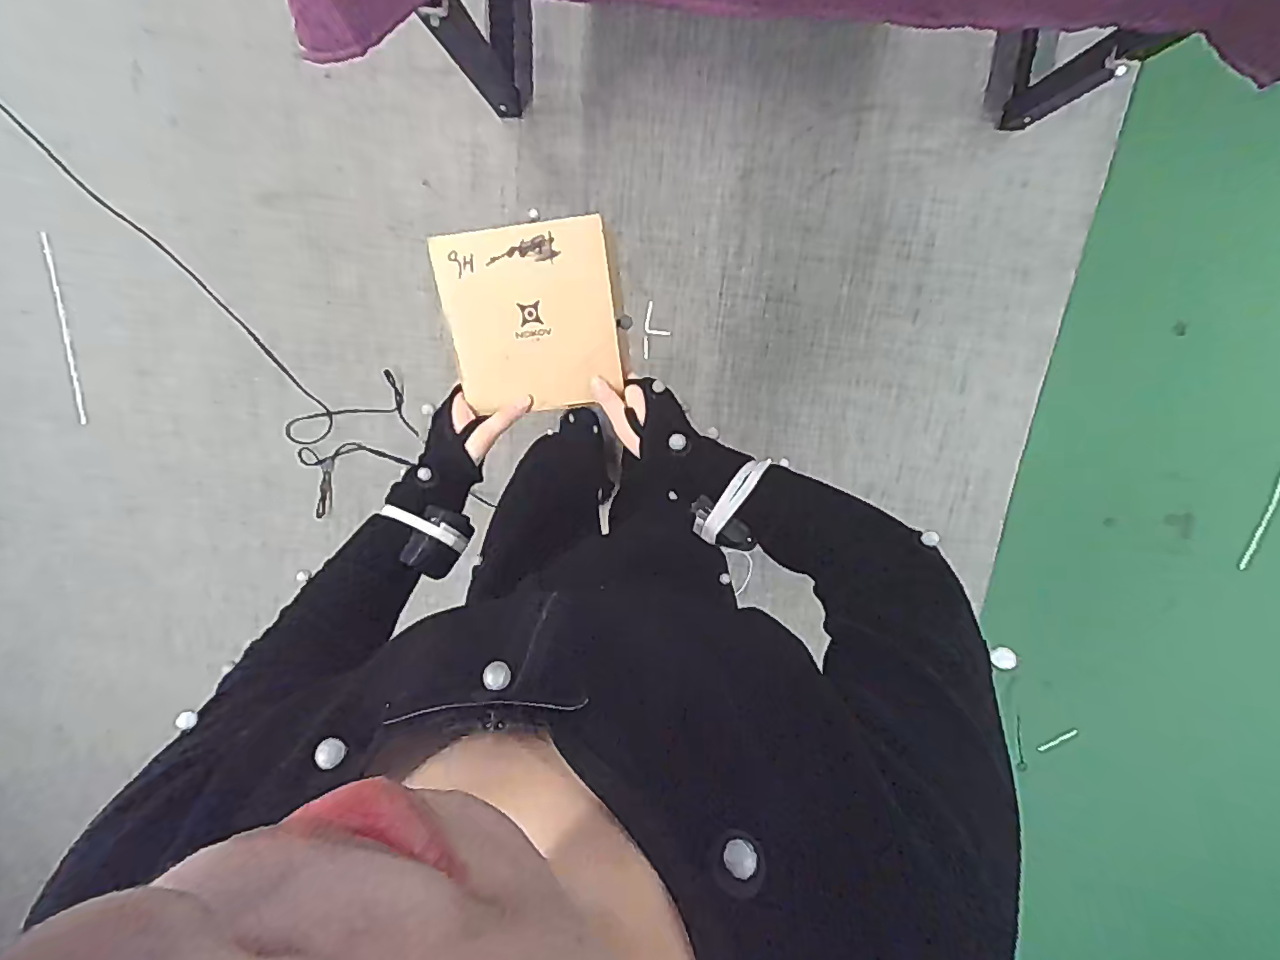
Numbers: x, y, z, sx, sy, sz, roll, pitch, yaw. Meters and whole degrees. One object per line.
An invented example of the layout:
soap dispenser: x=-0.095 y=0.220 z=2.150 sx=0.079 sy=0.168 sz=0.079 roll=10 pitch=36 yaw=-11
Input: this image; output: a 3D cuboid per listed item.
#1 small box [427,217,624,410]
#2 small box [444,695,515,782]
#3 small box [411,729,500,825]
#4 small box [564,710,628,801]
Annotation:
small box: x=-0.110 y=-0.190 z=0.611 sx=0.168 sy=0.176 sz=0.179 roll=-5 pitch=112 yaw=4
small box: x=-0.480 y=0.772 z=1.629 sx=0.179 sy=0.176 sz=0.168 roll=4 pitch=105 yaw=3
small box: x=-0.490 y=0.801 z=1.469 sx=0.179 sy=0.176 sz=0.168 roll=-1 pitch=105 yaw=4
small box: x=-0.129 y=0.820 z=1.623 sx=0.168 sy=0.176 sz=0.179 roll=6 pitch=107 yaw=2
